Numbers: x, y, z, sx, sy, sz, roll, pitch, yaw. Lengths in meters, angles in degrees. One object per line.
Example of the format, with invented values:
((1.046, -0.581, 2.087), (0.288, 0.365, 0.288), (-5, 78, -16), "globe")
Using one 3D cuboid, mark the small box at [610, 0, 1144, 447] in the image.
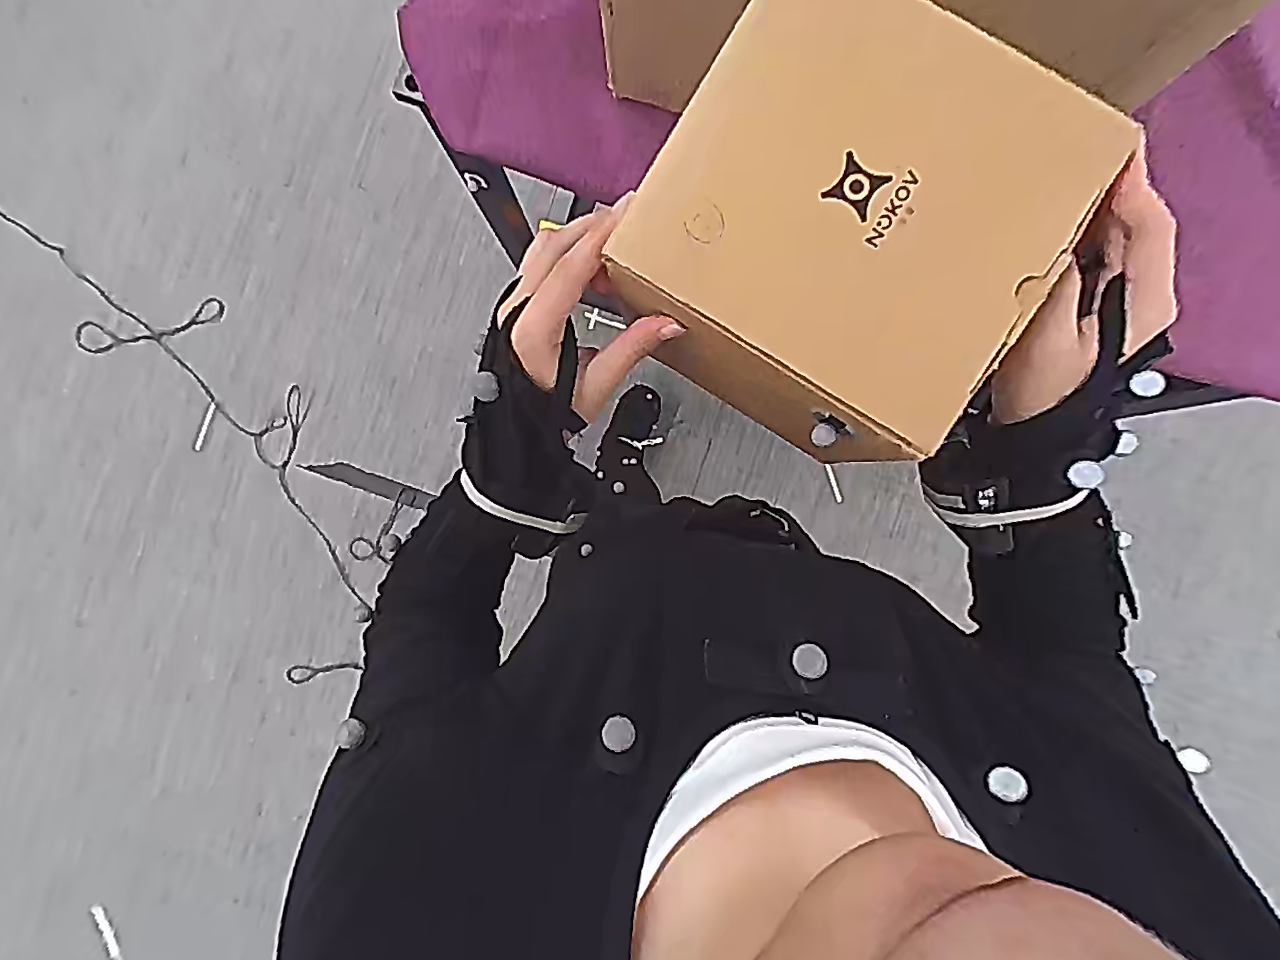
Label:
((0.103, -0.127, 0.315), (0.179, 0.176, 0.168), (32, 93, 1), "small box")
